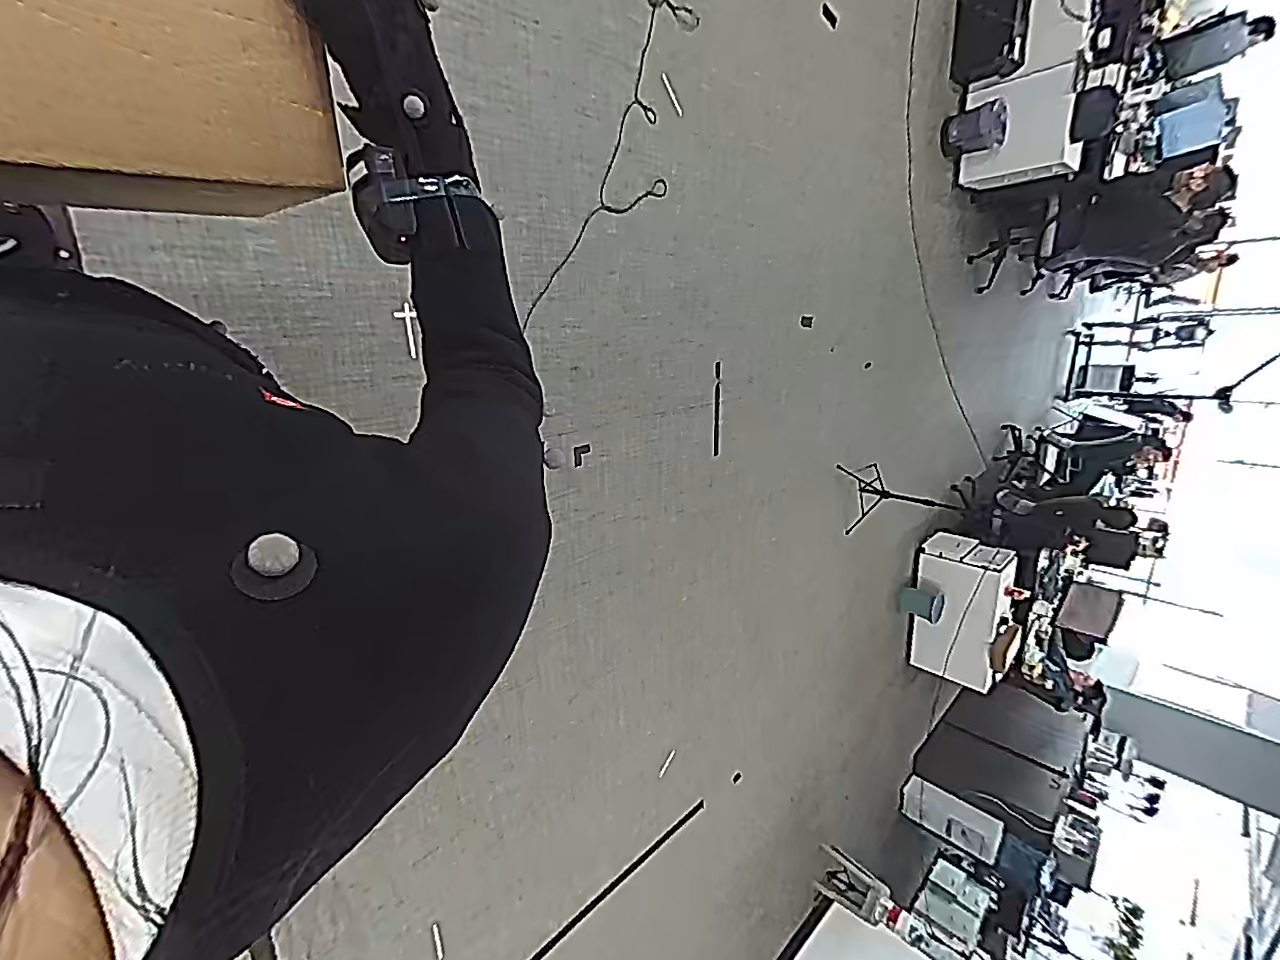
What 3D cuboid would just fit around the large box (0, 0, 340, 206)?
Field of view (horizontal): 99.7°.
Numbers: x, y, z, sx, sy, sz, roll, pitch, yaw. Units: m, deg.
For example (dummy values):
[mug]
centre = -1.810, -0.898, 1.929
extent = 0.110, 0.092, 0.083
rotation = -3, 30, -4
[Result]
[large box]
centre = -0.468, -0.351, 0.318
extent = 0.408, 0.320, 0.320
rotation = -19, 120, -40
